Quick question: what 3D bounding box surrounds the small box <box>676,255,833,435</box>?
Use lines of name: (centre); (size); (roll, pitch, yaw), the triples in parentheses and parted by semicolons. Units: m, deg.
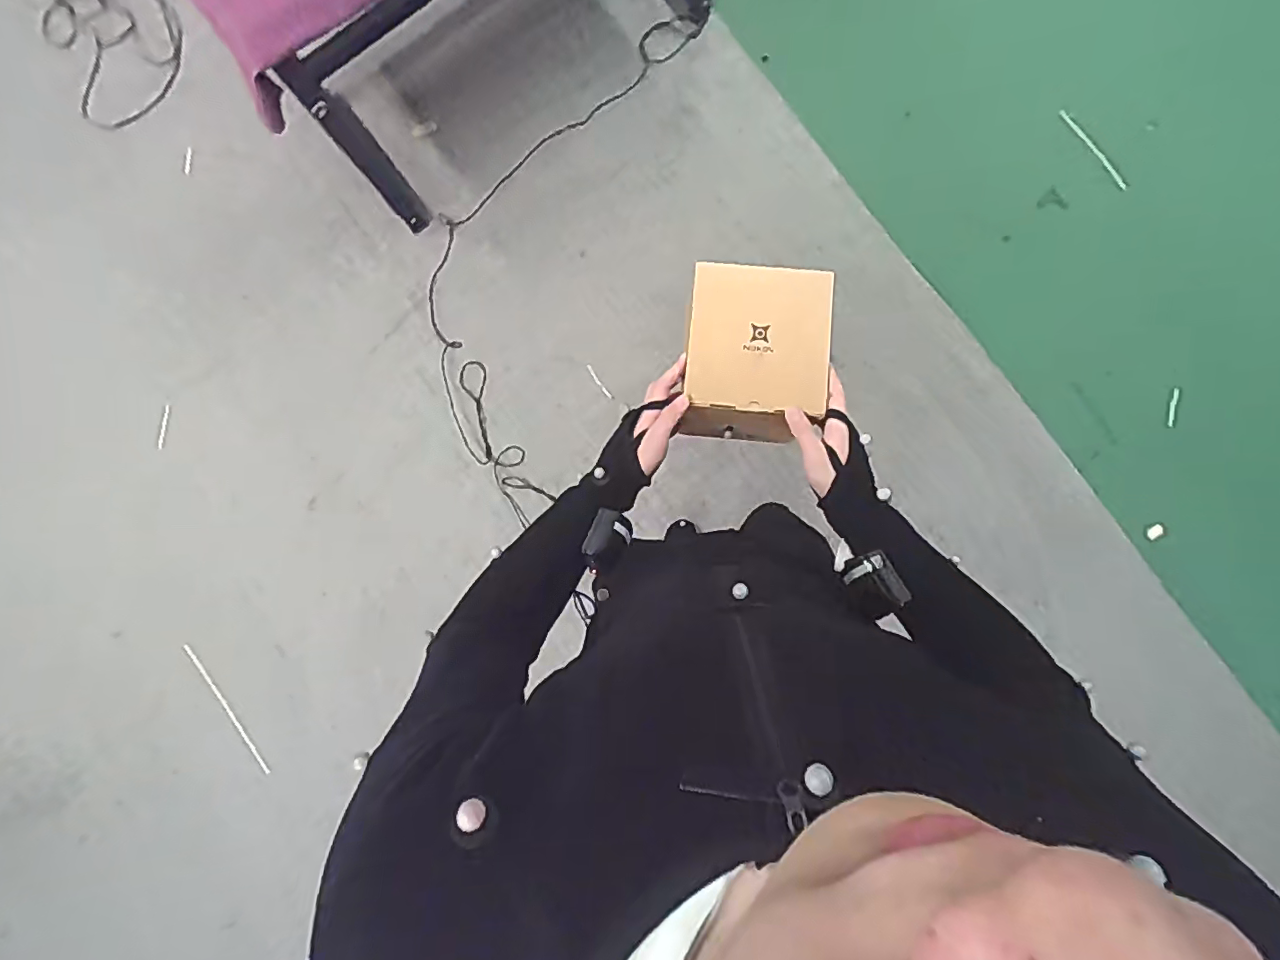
small box: (0.137, -0.163, 0.703); (0.168, 0.176, 0.179); (4, 86, 1)
